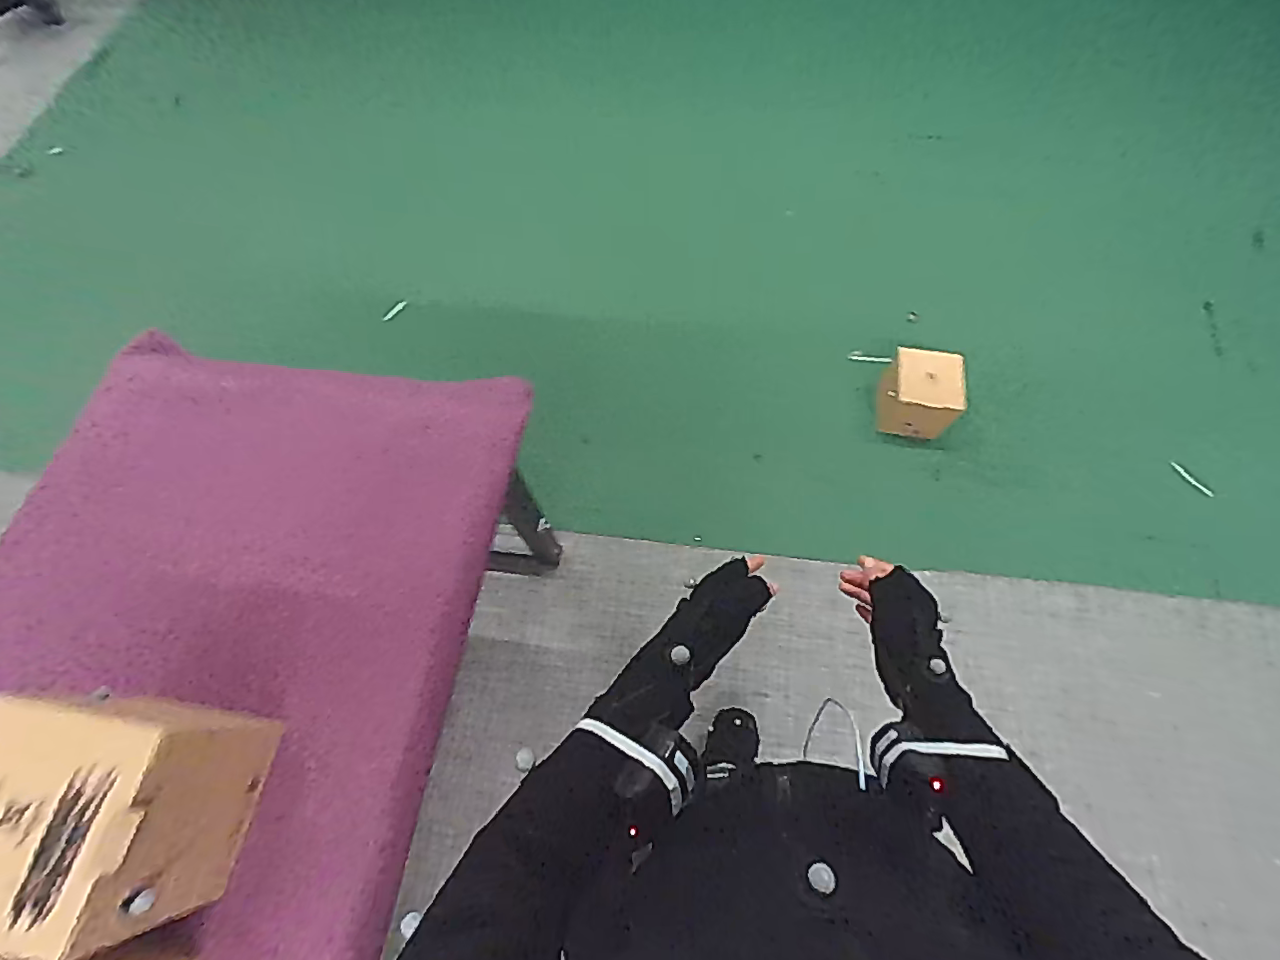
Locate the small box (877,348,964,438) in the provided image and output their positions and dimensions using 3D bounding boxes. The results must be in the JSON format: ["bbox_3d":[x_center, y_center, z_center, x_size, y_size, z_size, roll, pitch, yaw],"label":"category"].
[{"bbox_3d":[0.777,-0.241,1.517,0.168,0.176,0.179,8,68,5],"label":"small box"}]
